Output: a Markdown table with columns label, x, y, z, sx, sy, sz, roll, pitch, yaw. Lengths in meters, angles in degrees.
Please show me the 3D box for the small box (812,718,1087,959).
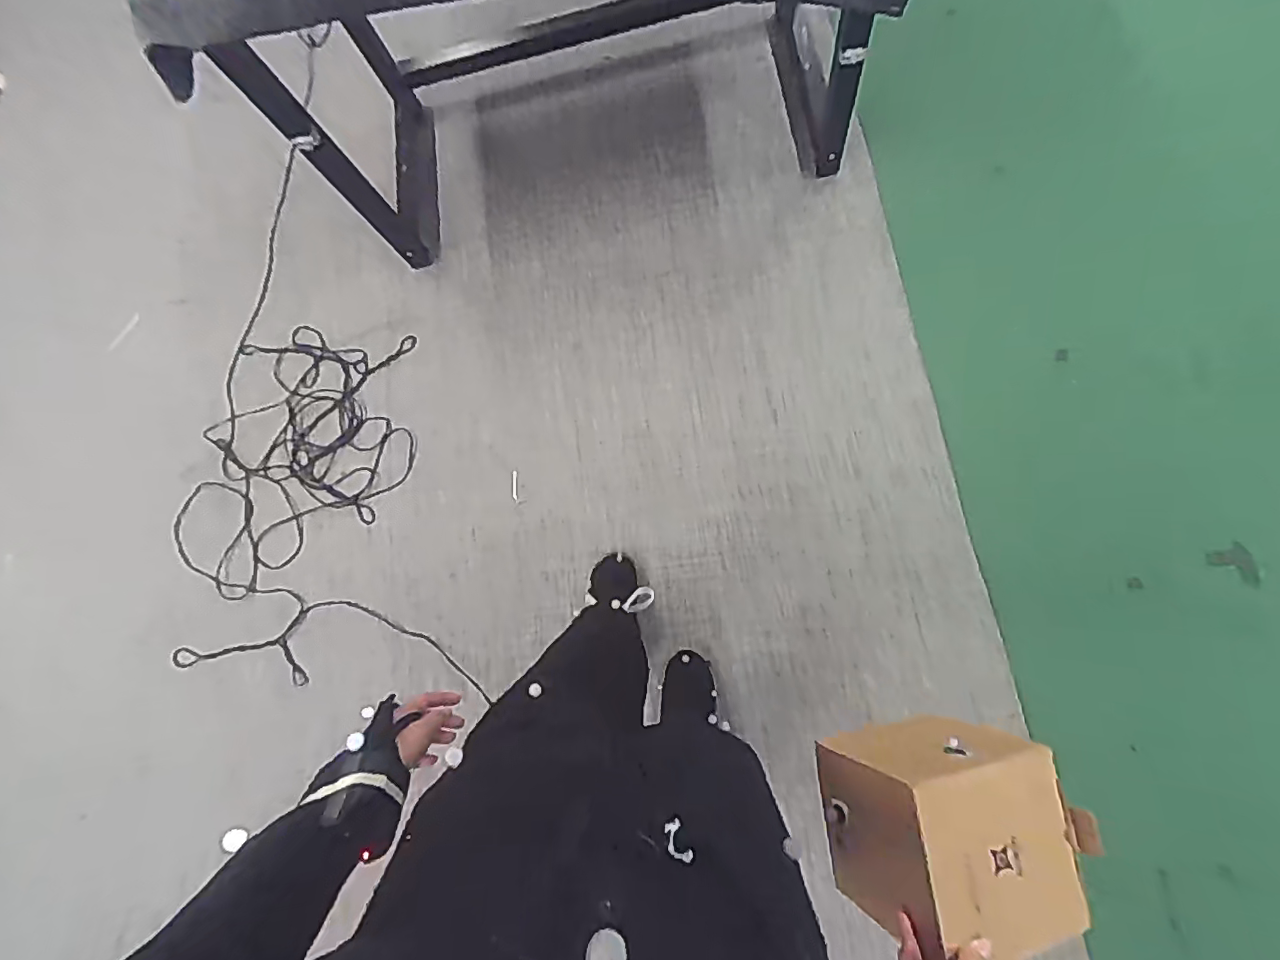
| label | x | y | z | sx | sy | sz | roll | pitch | yaw |
| --- | --- | --- | --- | --- | --- | --- | --- | --- | --- |
| small box | 0.317 | 0.371 | 0.583 | 0.179 | 0.176 | 0.168 | -4 | 79 | -17 |
